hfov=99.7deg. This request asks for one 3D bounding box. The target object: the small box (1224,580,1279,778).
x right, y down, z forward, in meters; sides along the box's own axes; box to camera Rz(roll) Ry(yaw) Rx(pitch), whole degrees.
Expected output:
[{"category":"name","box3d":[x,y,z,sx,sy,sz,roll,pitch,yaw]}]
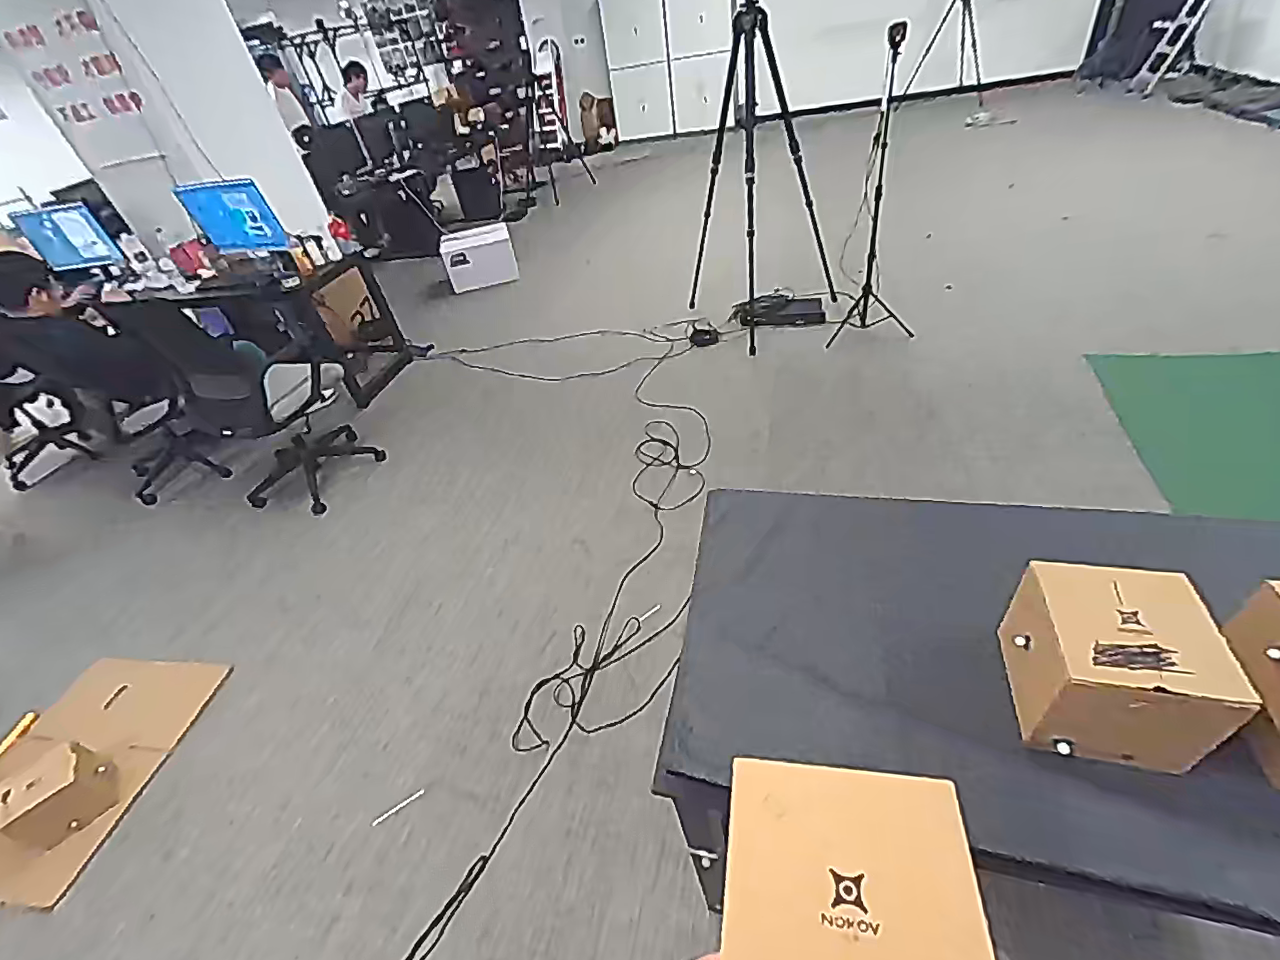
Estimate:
[{"category":"small box","box3d":[0.813,0.239,0.607,0.168,0.176,0.179,2,41,16]}]

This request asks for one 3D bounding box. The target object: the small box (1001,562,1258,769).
[{"category":"small box","box3d":[0.580,0.229,0.675,0.168,0.176,0.179,4,41,17]}]

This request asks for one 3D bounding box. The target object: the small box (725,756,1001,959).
[{"category":"small box","box3d":[0.154,0.343,0.405,0.168,0.176,0.179,-2,37,15]}]
